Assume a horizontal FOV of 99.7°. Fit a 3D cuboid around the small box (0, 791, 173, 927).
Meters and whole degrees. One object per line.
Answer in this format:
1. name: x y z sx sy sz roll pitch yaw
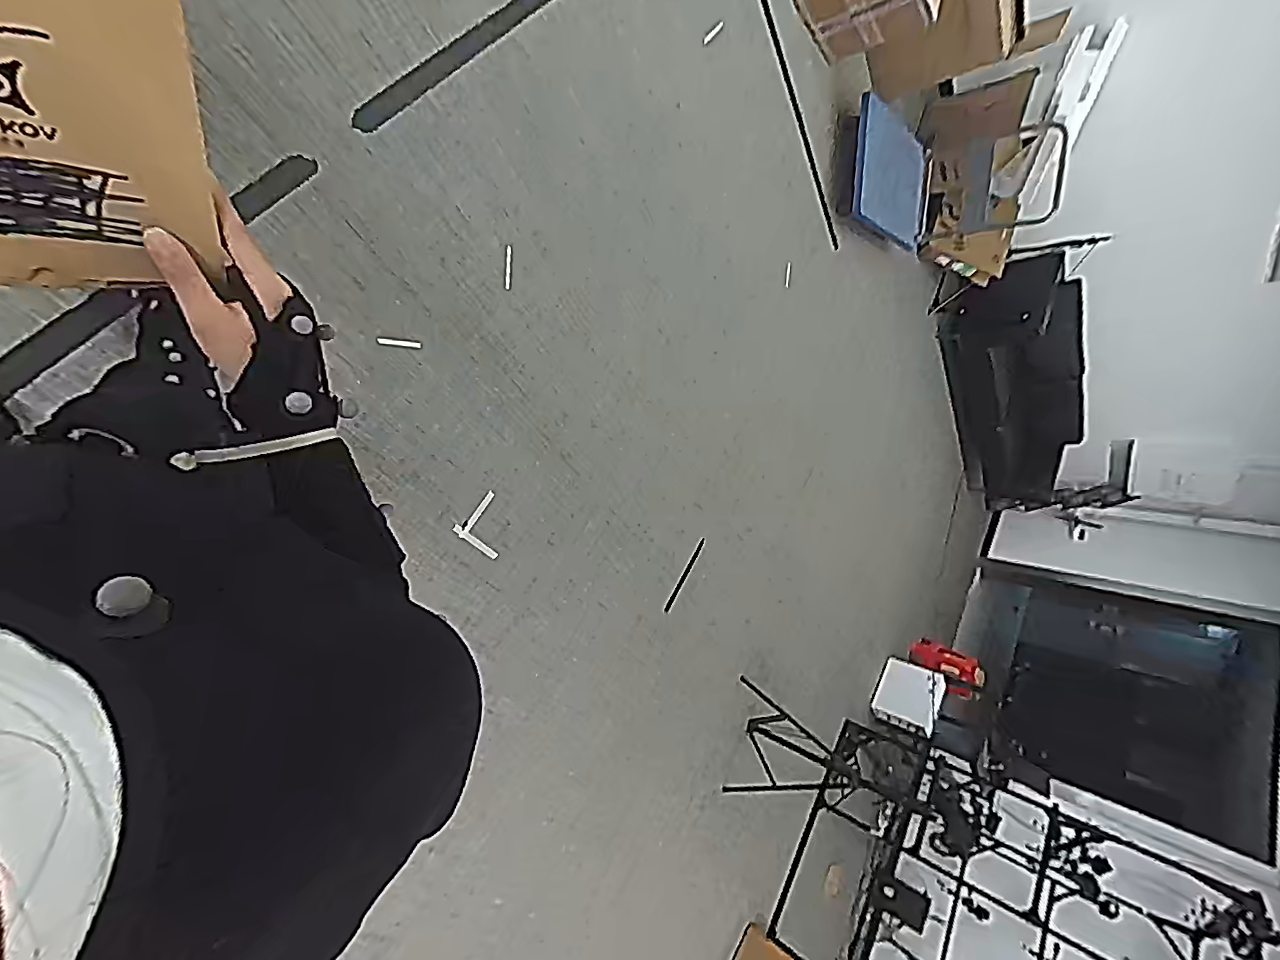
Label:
1. small box: -1.014 0.710 0.991 0.168 0.176 0.179 45 65 -43
